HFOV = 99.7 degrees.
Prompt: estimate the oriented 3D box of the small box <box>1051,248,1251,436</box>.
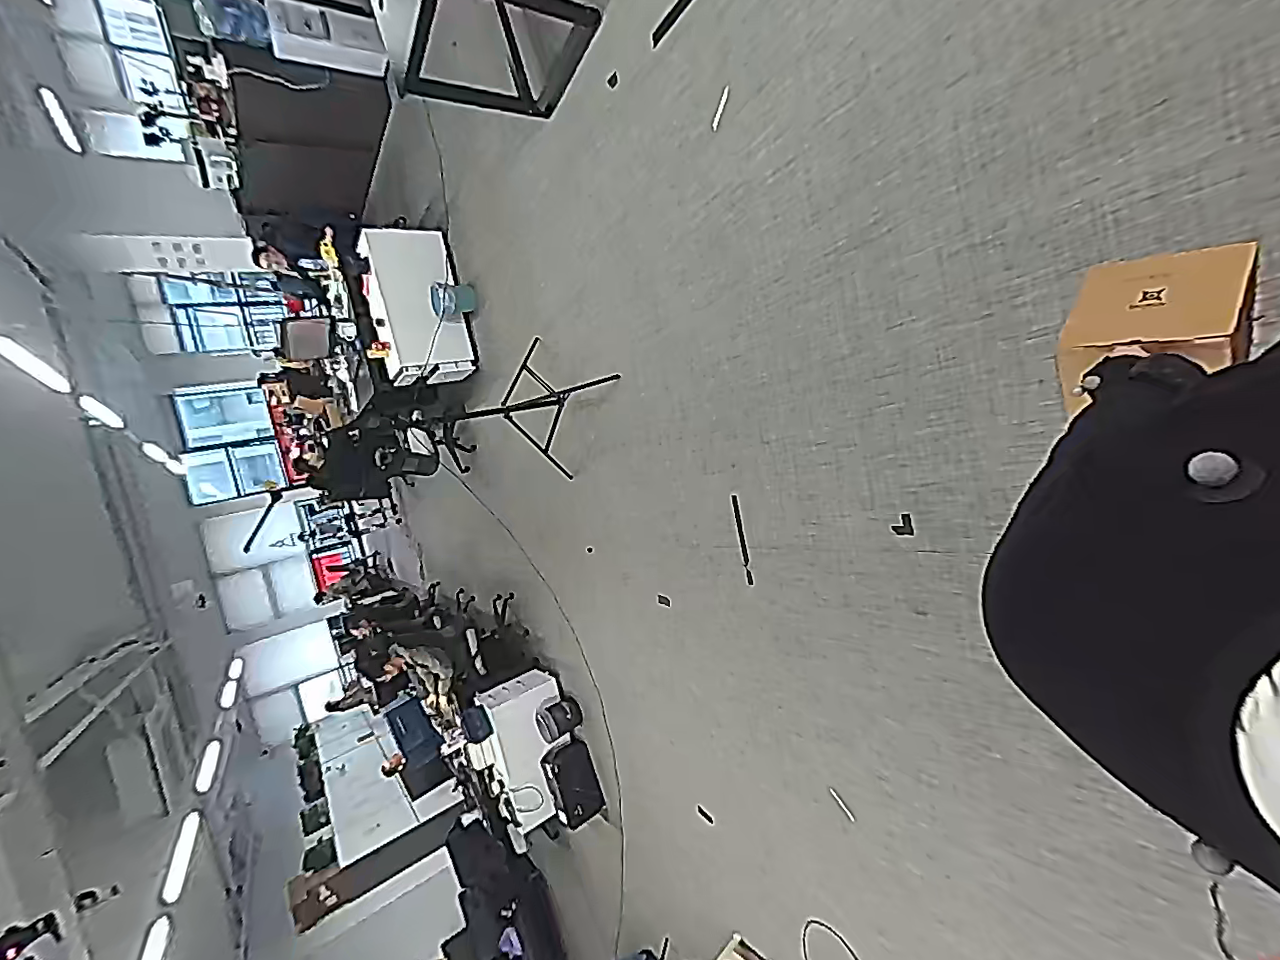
[{"bbox_3d":[0.698,-0.178,0.741,0.168,0.179,0.176,11,149,50],"label":"small box"}]
